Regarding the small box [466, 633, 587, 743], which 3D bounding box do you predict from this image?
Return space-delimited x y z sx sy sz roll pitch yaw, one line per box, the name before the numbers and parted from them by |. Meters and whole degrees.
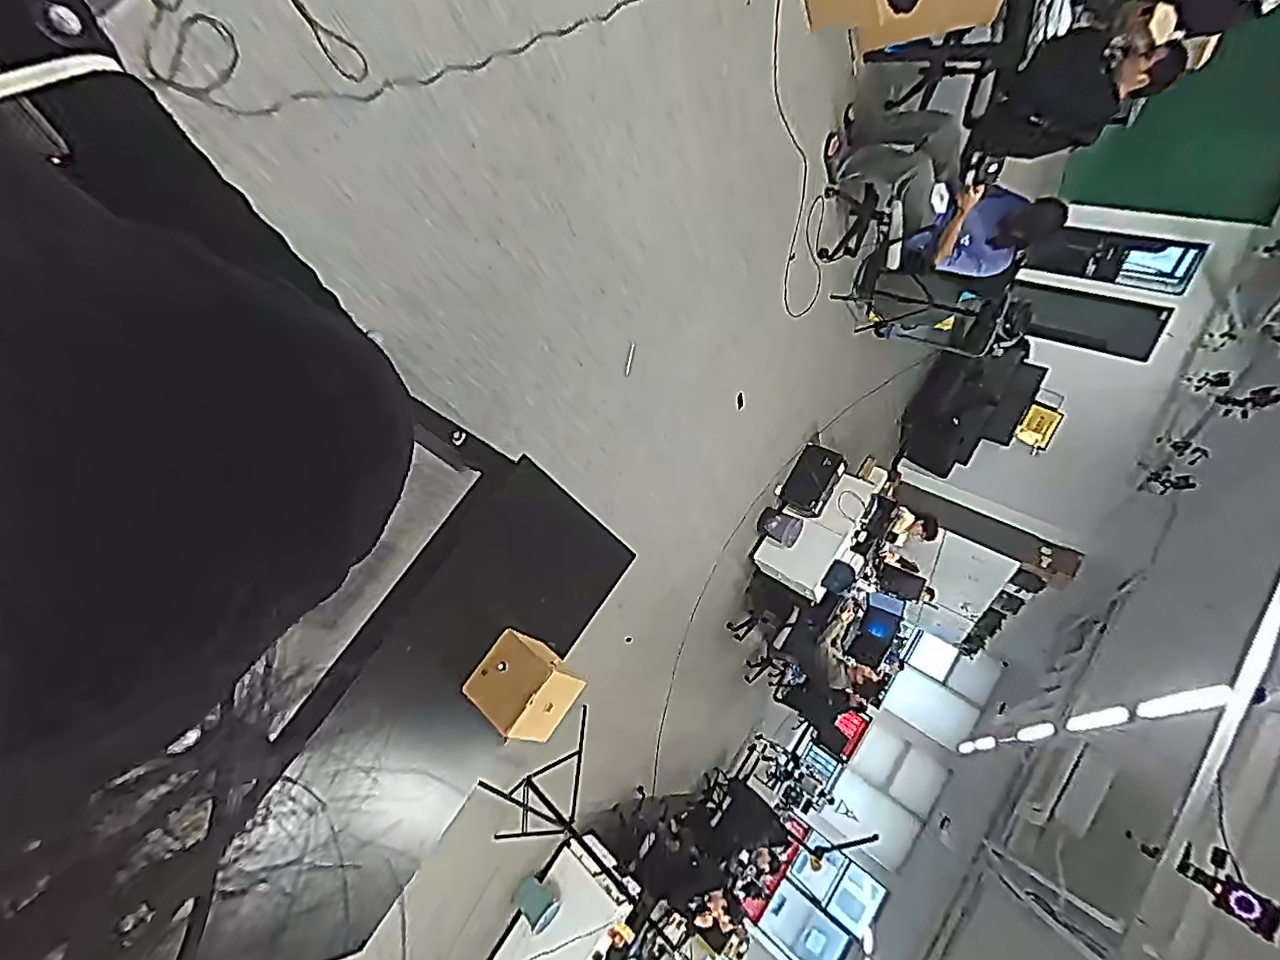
small box | -0.262 0.482 1.259 0.168 0.176 0.179 -54 146 -11
